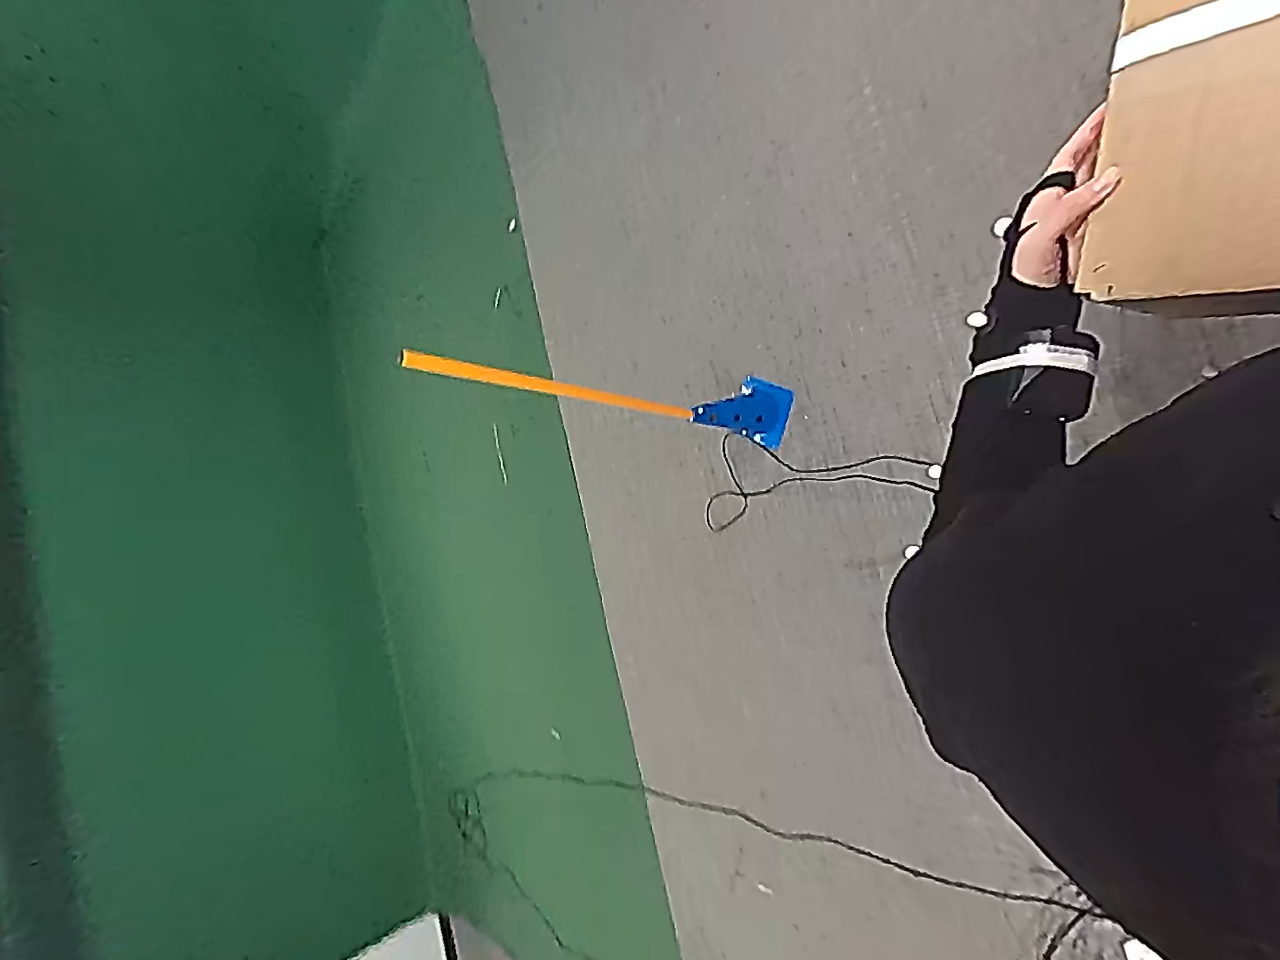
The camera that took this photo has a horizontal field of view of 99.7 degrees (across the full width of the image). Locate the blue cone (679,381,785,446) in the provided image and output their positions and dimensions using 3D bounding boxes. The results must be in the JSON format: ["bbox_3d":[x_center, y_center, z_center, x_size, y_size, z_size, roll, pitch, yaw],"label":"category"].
[{"bbox_3d":[0.257,-0.203,1.647,0.193,0.380,0.192,29,115,42],"label":"blue cone"}]
